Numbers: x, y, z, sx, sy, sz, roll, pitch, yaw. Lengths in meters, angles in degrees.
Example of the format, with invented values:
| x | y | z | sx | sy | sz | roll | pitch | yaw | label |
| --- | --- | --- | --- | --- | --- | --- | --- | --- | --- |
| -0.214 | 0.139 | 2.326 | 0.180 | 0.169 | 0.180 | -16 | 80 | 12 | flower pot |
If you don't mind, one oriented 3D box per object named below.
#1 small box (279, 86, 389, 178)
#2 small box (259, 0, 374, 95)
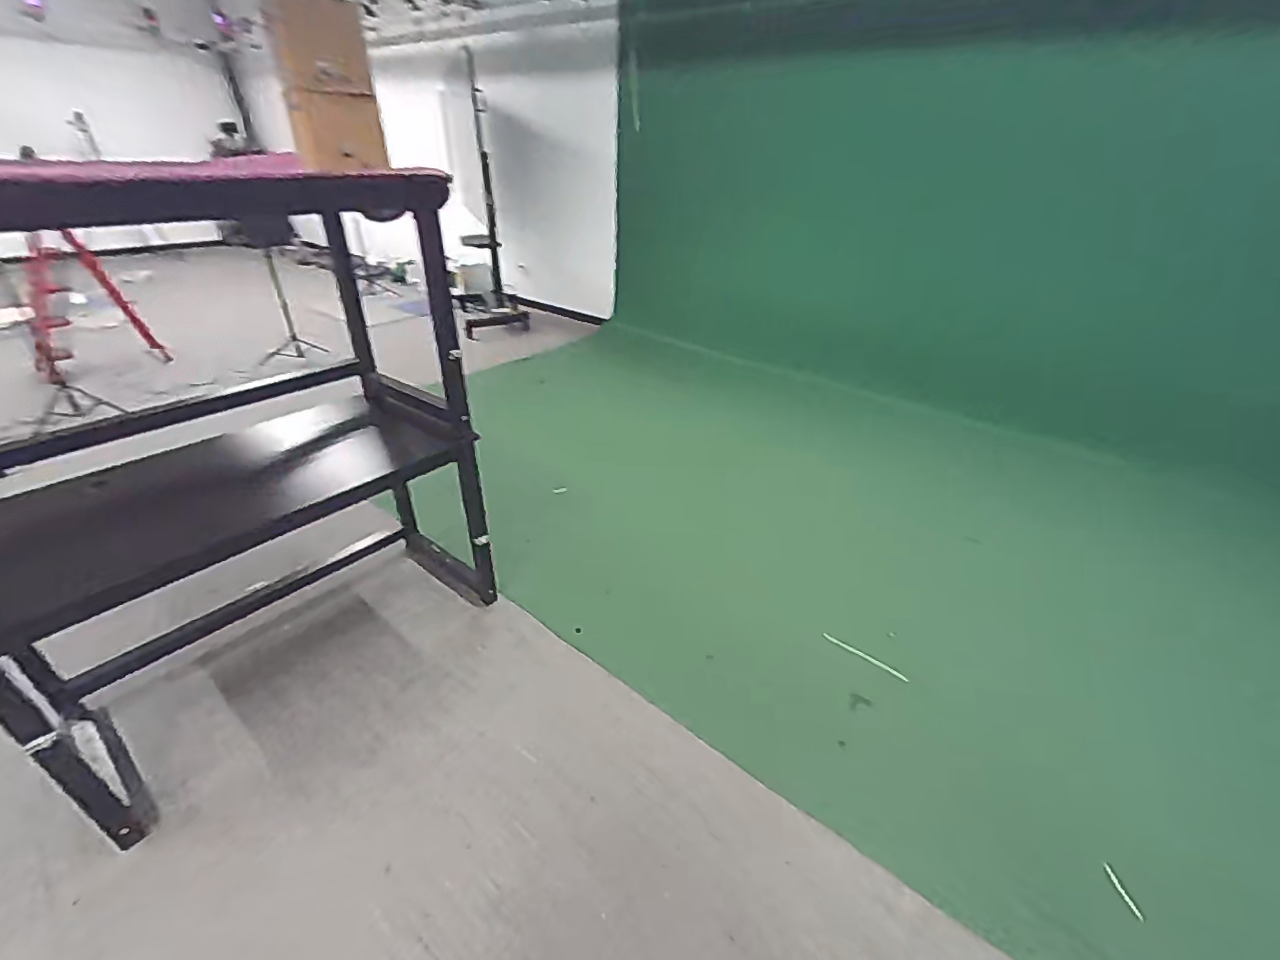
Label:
| x | y | z | sx | sy | sz | roll | pitch | yaw | label |
| --- | --- | --- | --- | --- | --- | --- | --- | --- | --- |
| -0.717 | -0.816 | 1.272 | 0.168 | 0.176 | 0.179 | -24 | 42 | -35 | small box |
| -0.705 | -0.949 | 1.181 | 0.168 | 0.176 | 0.179 | -22 | 42 | -31 | small box |
